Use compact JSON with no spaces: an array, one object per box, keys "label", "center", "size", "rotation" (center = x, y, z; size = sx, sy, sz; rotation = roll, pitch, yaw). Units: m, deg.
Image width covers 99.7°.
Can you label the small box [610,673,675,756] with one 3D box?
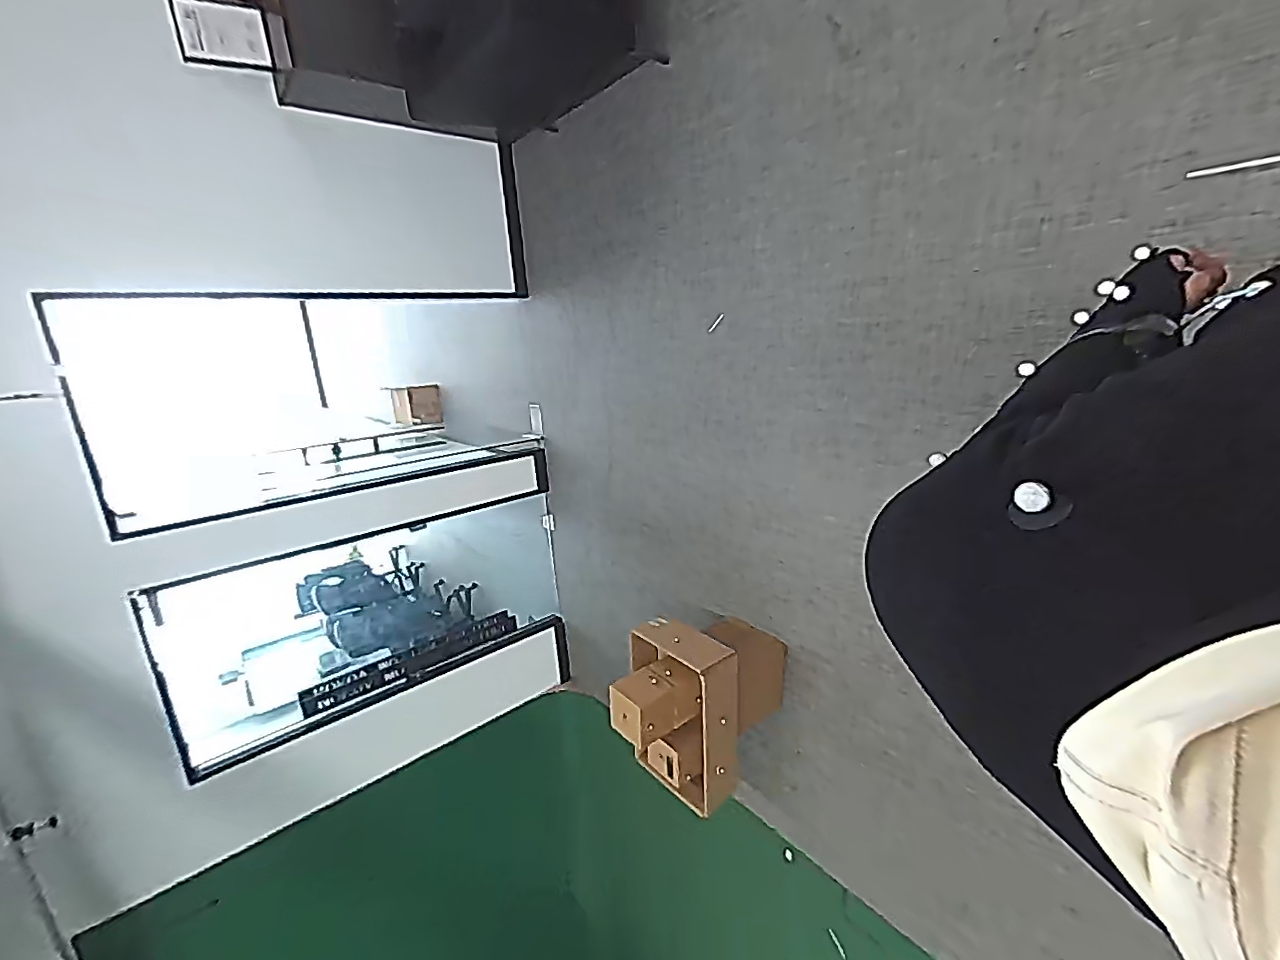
[{"label":"small box","center":[0.010,0.818,1.903],"size":[0.168,0.176,0.179],"rotation":[16,113,46]}]

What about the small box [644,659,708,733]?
[{"label":"small box","center":[0.131,0.790,2.007],"size":[0.179,0.176,0.168],"rotation":[16,113,47]}]
